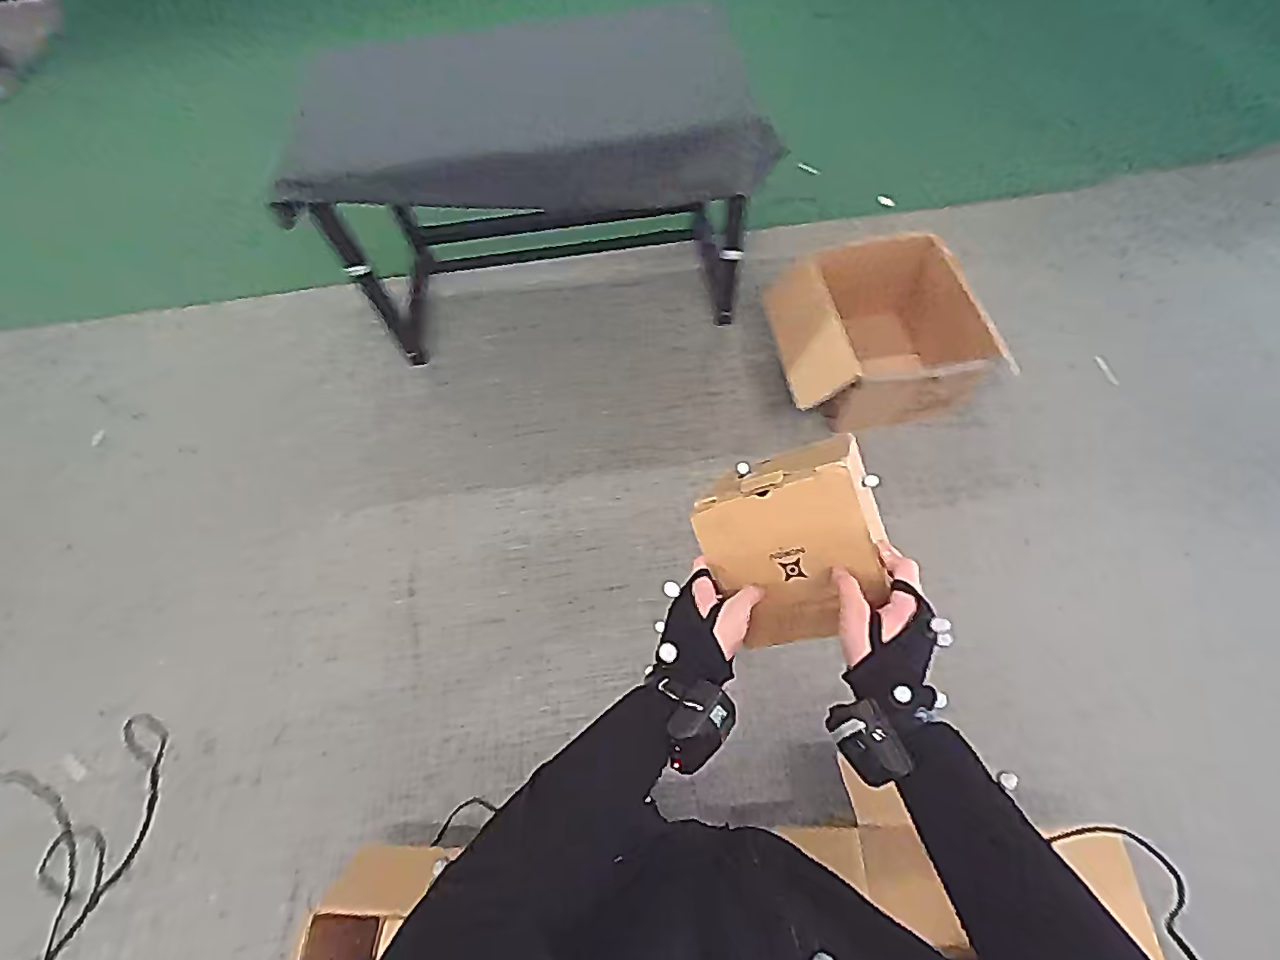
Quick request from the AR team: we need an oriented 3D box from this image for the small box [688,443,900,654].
[{"bbox_3d":[0.176,0.066,0.611,0.168,0.176,0.179,-19,97,25],"label":"small box"}]
